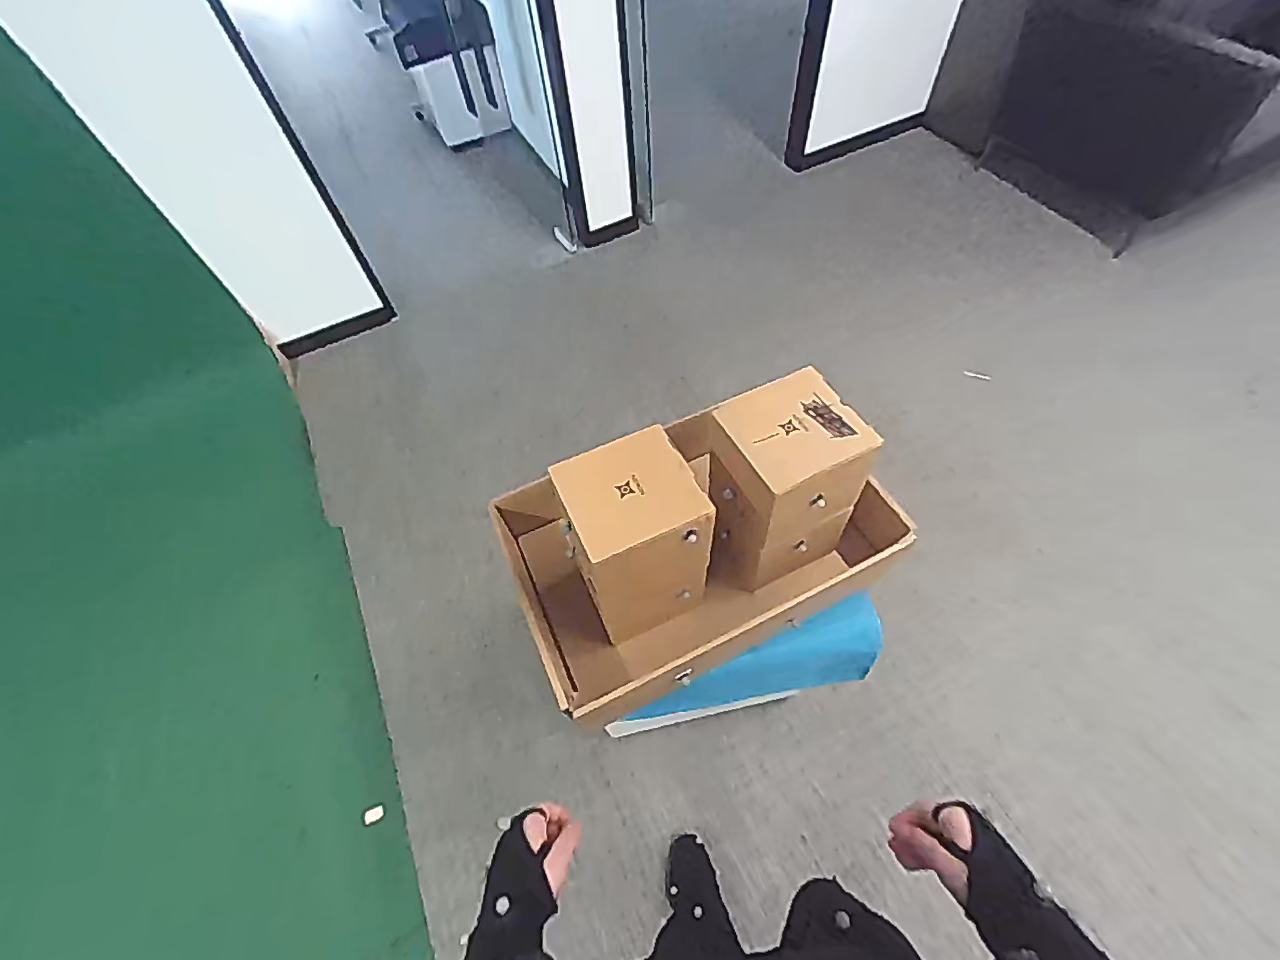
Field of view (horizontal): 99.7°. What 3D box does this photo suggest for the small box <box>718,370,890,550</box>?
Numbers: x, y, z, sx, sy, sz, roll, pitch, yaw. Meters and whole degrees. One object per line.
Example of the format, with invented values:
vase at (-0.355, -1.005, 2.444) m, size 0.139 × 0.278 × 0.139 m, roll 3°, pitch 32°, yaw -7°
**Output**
small box at (0.228, -0.026, 0.806) m, size 0.179 × 0.176 × 0.168 m, roll -25°, pitch 57°, yaw -9°
